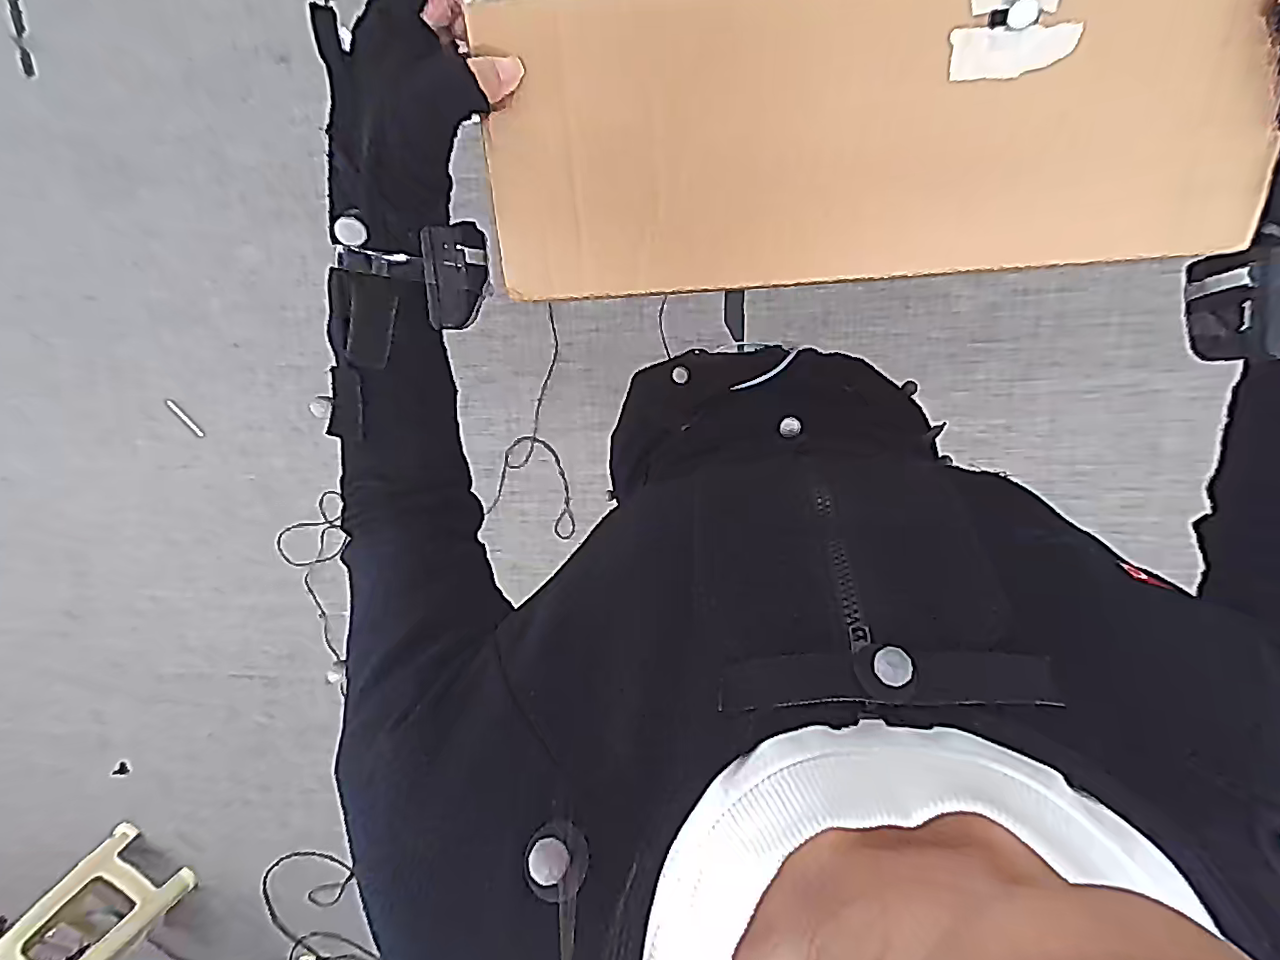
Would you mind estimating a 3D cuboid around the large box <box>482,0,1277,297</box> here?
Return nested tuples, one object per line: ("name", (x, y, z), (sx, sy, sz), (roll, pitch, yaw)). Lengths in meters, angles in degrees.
("large box", (0.119, -0.320, 0.408), (0.408, 0.320, 0.320), (-3, 110, 5))
